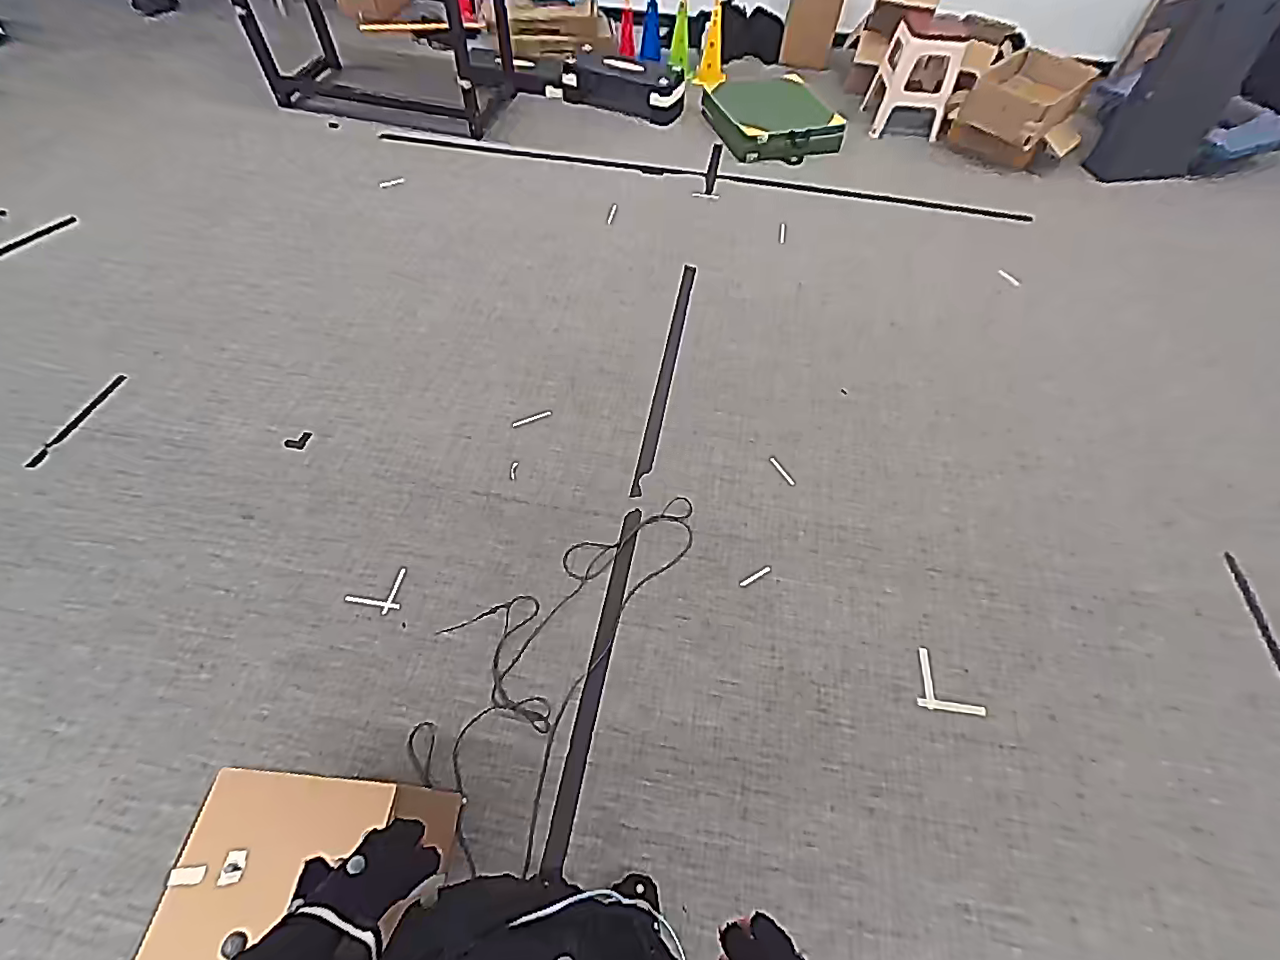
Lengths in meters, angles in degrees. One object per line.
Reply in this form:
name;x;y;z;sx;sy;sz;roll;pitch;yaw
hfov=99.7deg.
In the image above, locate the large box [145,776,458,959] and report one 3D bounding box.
large box;-0.578;0.742;1.003;0.320;0.408;0.320;6;58;2
